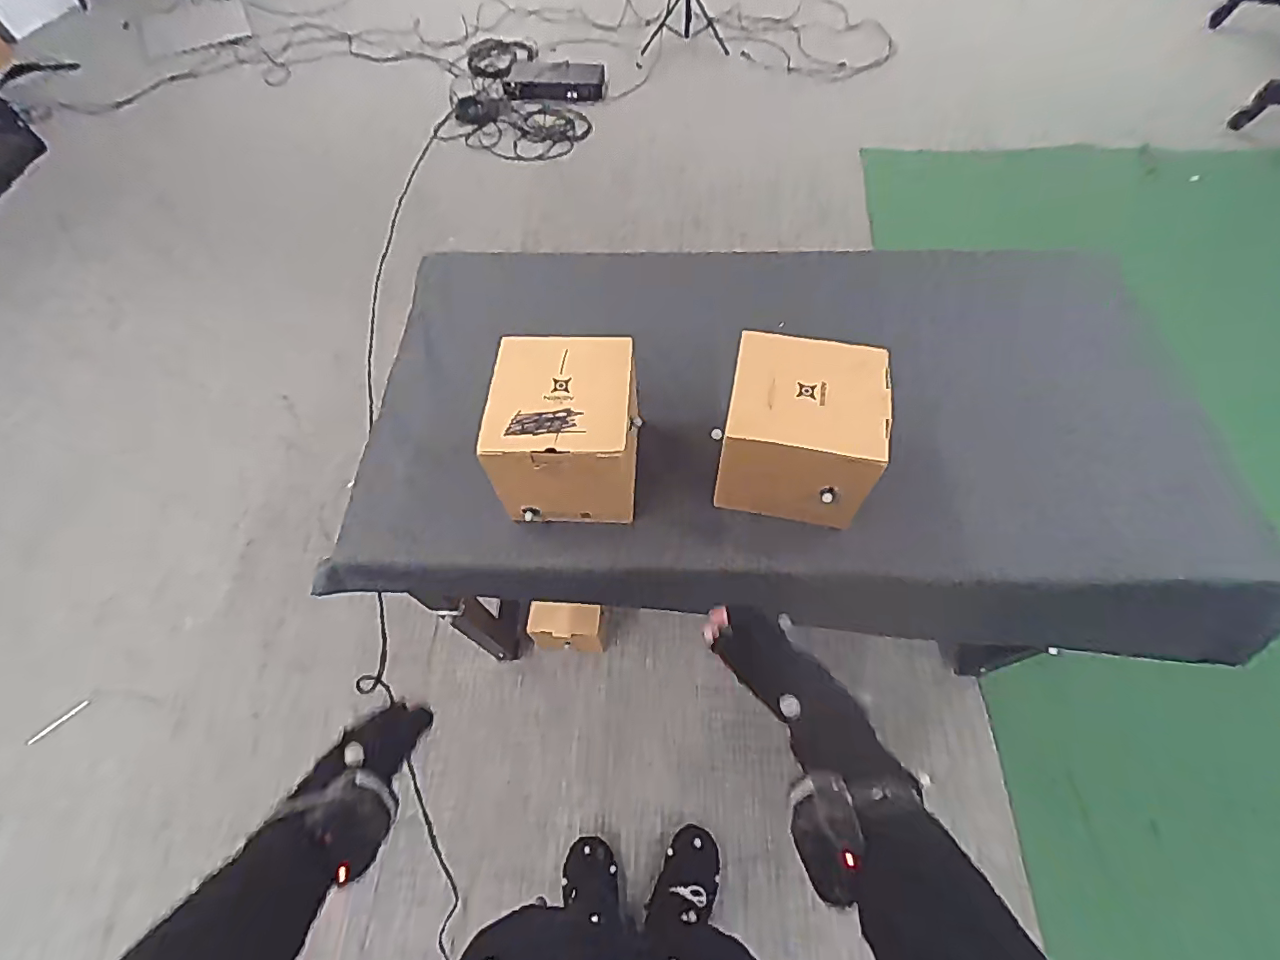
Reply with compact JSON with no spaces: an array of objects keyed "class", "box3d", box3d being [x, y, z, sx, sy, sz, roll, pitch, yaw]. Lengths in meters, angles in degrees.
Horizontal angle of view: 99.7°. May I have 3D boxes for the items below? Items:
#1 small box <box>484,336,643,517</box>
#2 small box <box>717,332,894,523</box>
[{"class":"small box","box3d":[-0.084,-0.063,0.700,0.168,0.176,0.179,2,60,3]},{"class":"small box","box3d":[0.203,-0.060,0.690,0.179,0.176,0.168,10,62,9]}]
